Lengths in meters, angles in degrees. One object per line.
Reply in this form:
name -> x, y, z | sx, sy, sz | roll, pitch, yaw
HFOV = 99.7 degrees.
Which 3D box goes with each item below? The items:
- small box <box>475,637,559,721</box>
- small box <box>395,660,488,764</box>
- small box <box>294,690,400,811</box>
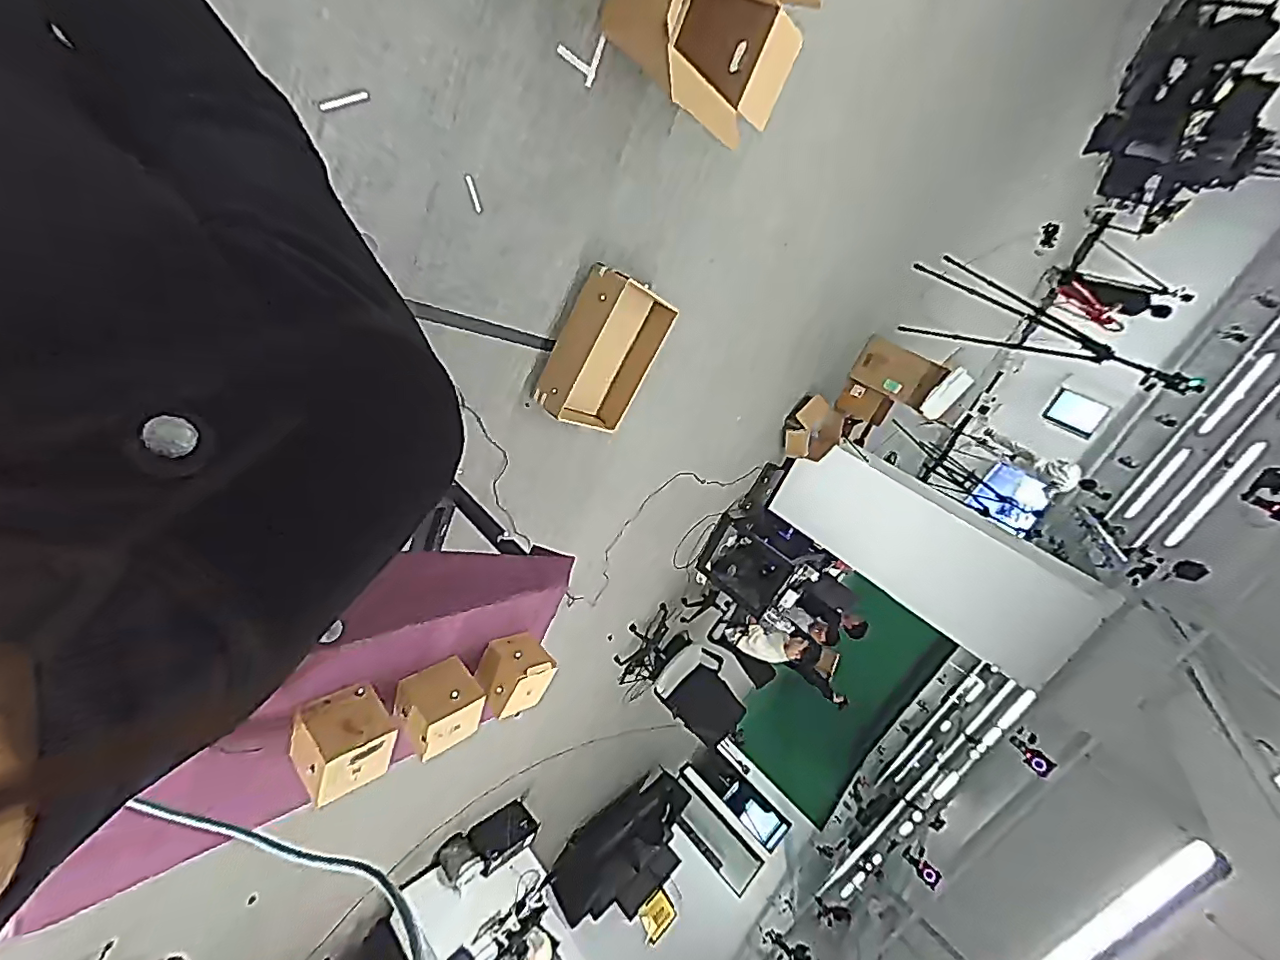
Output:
small box -> -0.398, 0.621, 1.725 | 0.168, 0.176, 0.179 | 4, 119, -55
small box -> -0.559, 0.643, 1.521 | 0.179, 0.176, 0.168 | -14, 132, -47
small box -> -0.711, 0.637, 1.303 | 0.168, 0.176, 0.179 | -9, 130, -50
